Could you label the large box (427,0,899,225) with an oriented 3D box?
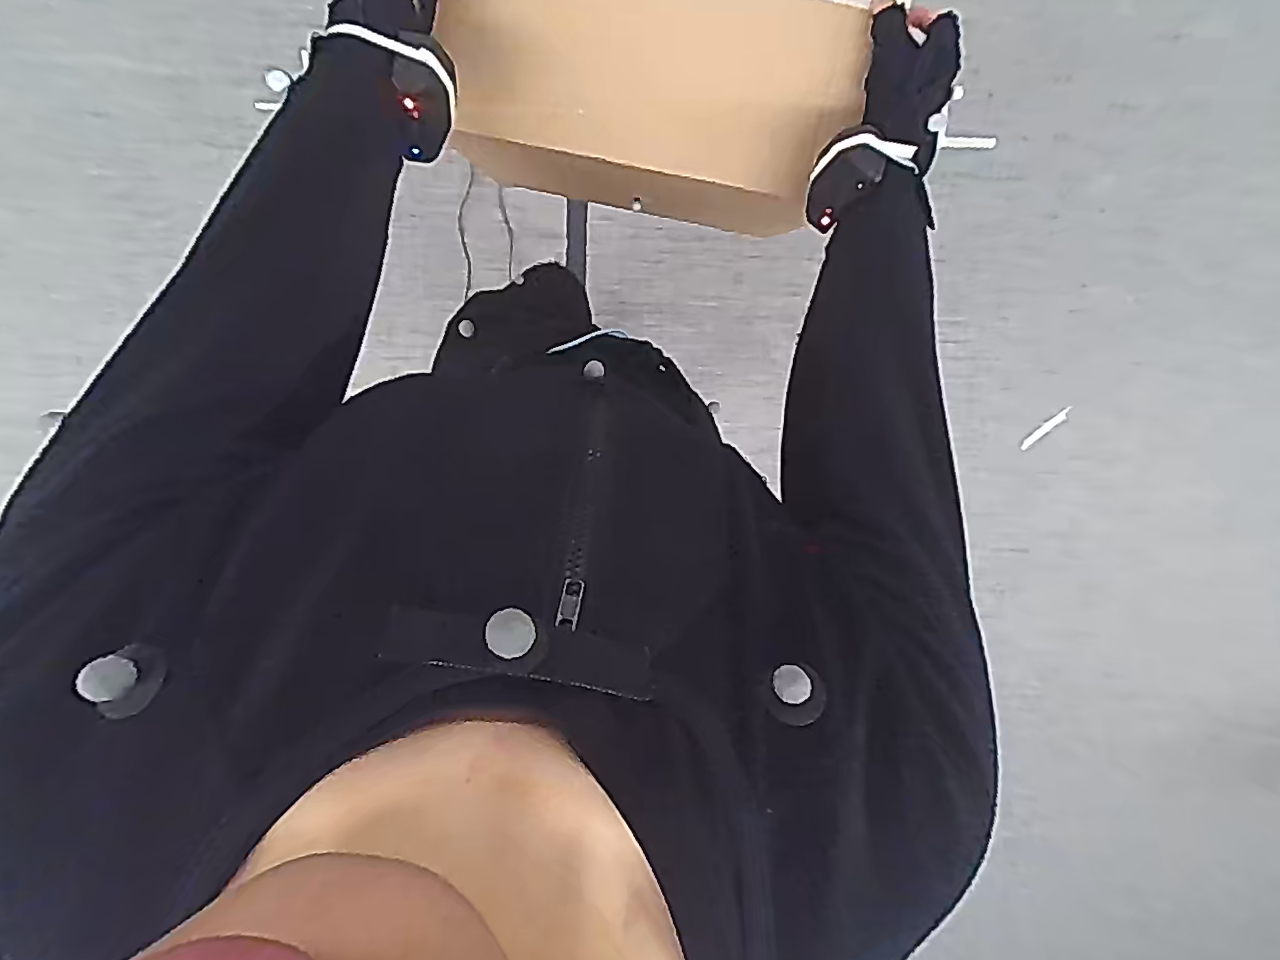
[{"bbox_3d":[0.027,-0.487,0.591,0.408,0.320,0.320,9,109,-4],"label":"large box"}]
